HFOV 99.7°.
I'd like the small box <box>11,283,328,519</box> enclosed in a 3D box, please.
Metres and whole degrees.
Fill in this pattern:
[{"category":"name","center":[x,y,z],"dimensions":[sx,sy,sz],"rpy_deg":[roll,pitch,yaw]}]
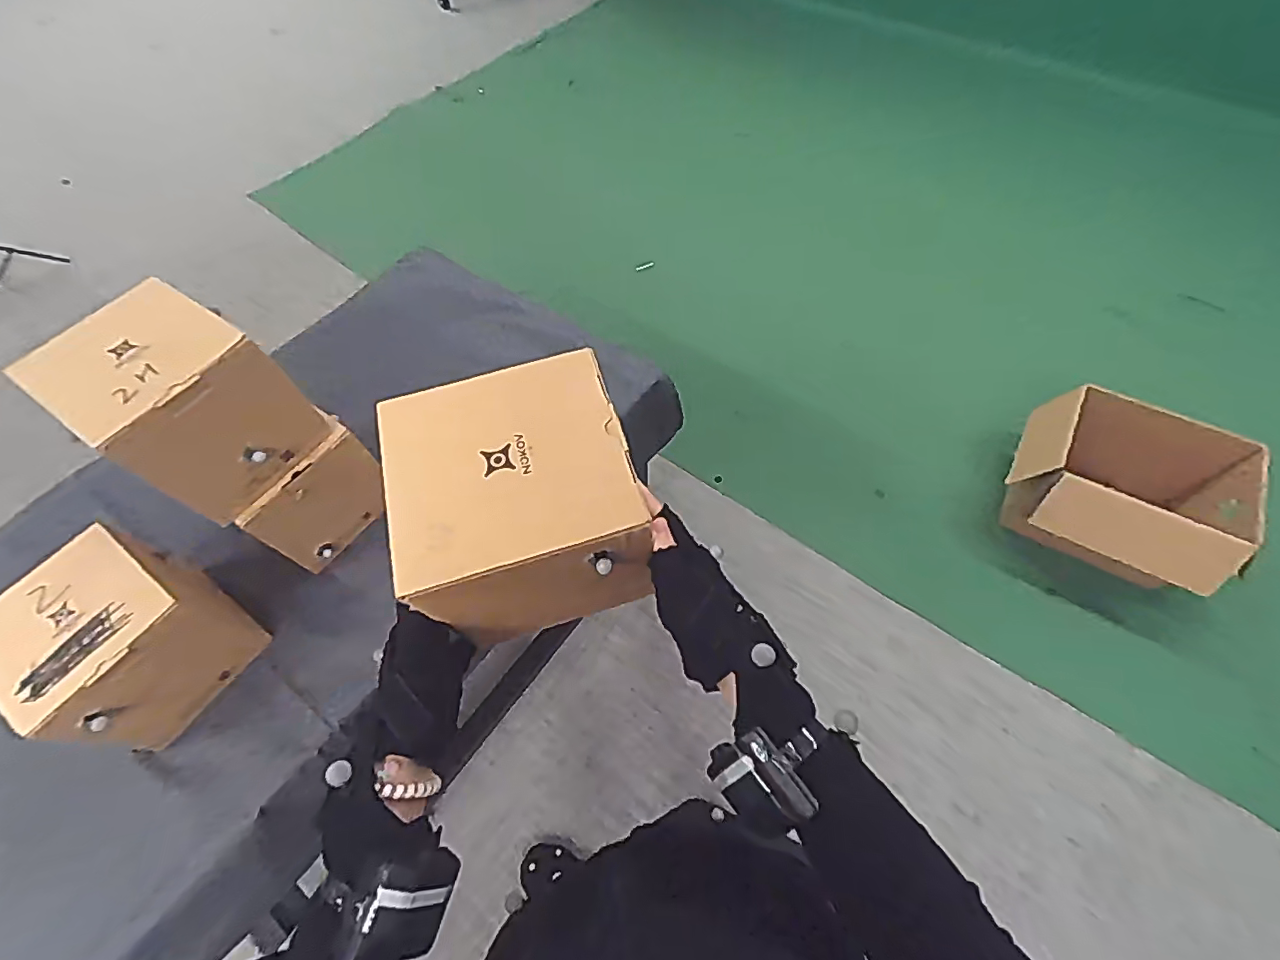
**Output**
[{"category":"small box","center":[-0.509,-0.082,0.613],"dimensions":[0.179,0.176,0.168],"rpy_deg":[30,66,17]}]

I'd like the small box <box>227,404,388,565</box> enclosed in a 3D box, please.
[{"category":"small box","center":[-0.483,-0.003,0.756],"dimensions":[0.179,0.176,0.168],"rpy_deg":[30,66,19]}]

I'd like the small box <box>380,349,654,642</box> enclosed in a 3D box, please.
[{"category":"small box","center":[-0.094,0.023,0.463],"dimensions":[0.179,0.176,0.168],"rpy_deg":[-17,62,-6]}]
